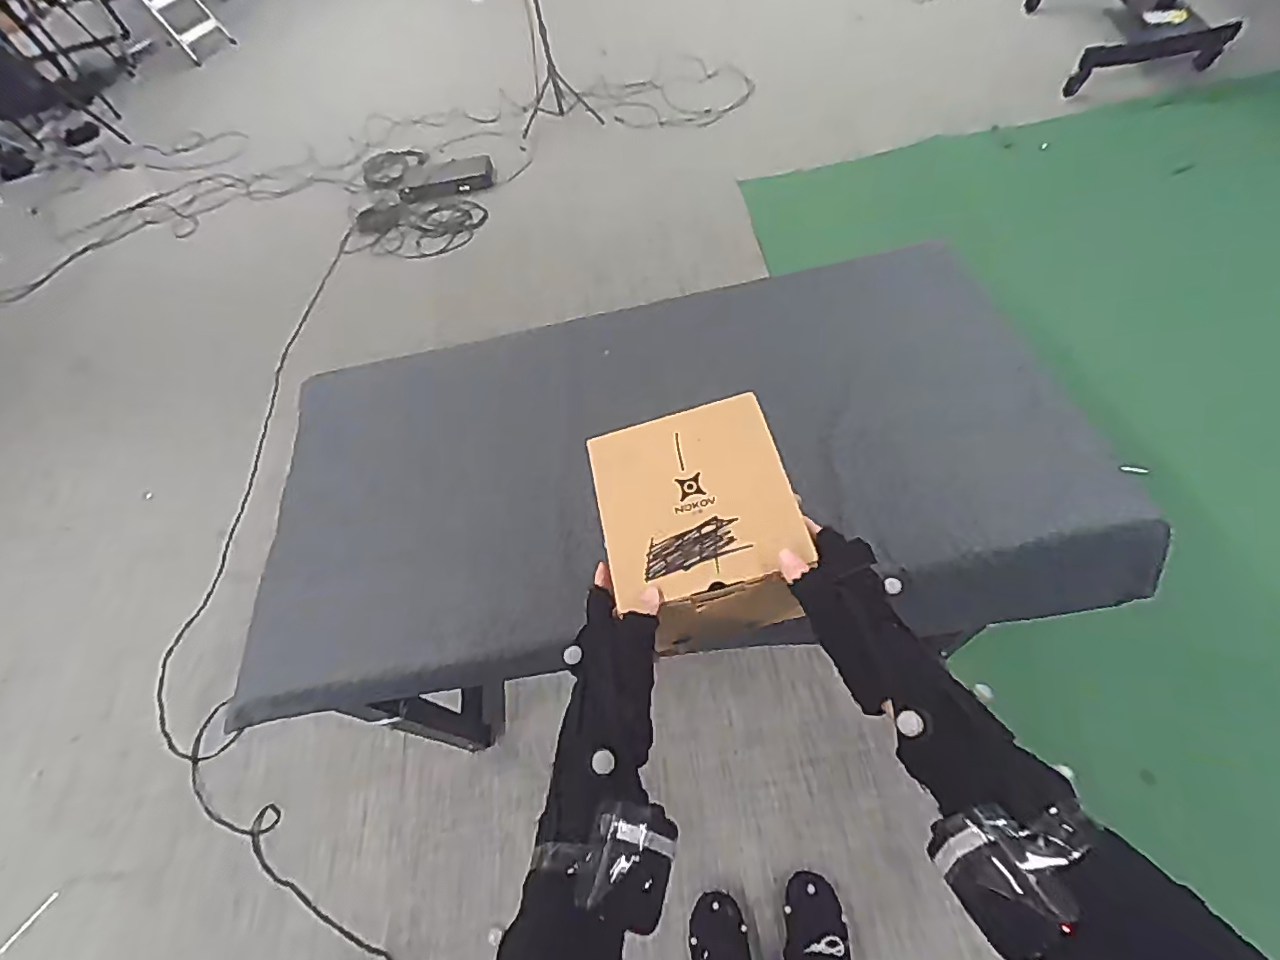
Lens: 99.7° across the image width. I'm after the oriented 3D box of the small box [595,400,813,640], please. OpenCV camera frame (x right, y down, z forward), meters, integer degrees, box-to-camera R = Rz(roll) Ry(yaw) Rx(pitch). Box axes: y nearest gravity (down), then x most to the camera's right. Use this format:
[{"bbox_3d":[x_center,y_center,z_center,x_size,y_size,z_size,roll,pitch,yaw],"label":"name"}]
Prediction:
[{"bbox_3d":[0.064,0.053,0.543,0.168,0.176,0.179,-14,60,5],"label":"small box"}]
